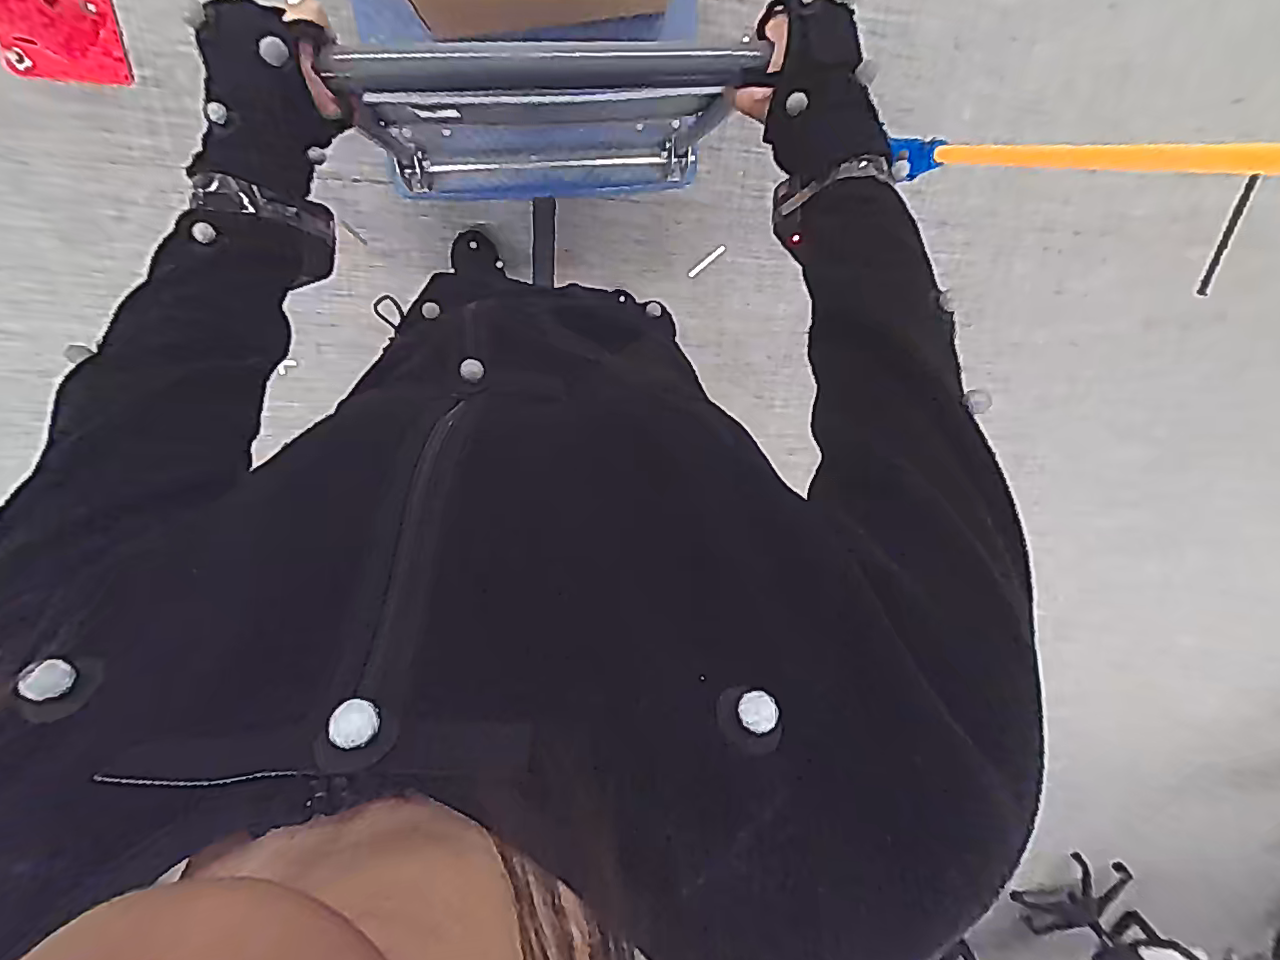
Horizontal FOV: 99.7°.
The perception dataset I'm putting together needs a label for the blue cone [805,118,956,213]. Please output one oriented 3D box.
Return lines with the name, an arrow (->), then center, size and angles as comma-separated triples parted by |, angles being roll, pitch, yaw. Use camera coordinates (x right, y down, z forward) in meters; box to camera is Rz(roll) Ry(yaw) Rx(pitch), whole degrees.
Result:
blue cone -> 0.501, -0.657, 1.103 | 0.193, 0.380, 0.192 | -4, 115, -8
